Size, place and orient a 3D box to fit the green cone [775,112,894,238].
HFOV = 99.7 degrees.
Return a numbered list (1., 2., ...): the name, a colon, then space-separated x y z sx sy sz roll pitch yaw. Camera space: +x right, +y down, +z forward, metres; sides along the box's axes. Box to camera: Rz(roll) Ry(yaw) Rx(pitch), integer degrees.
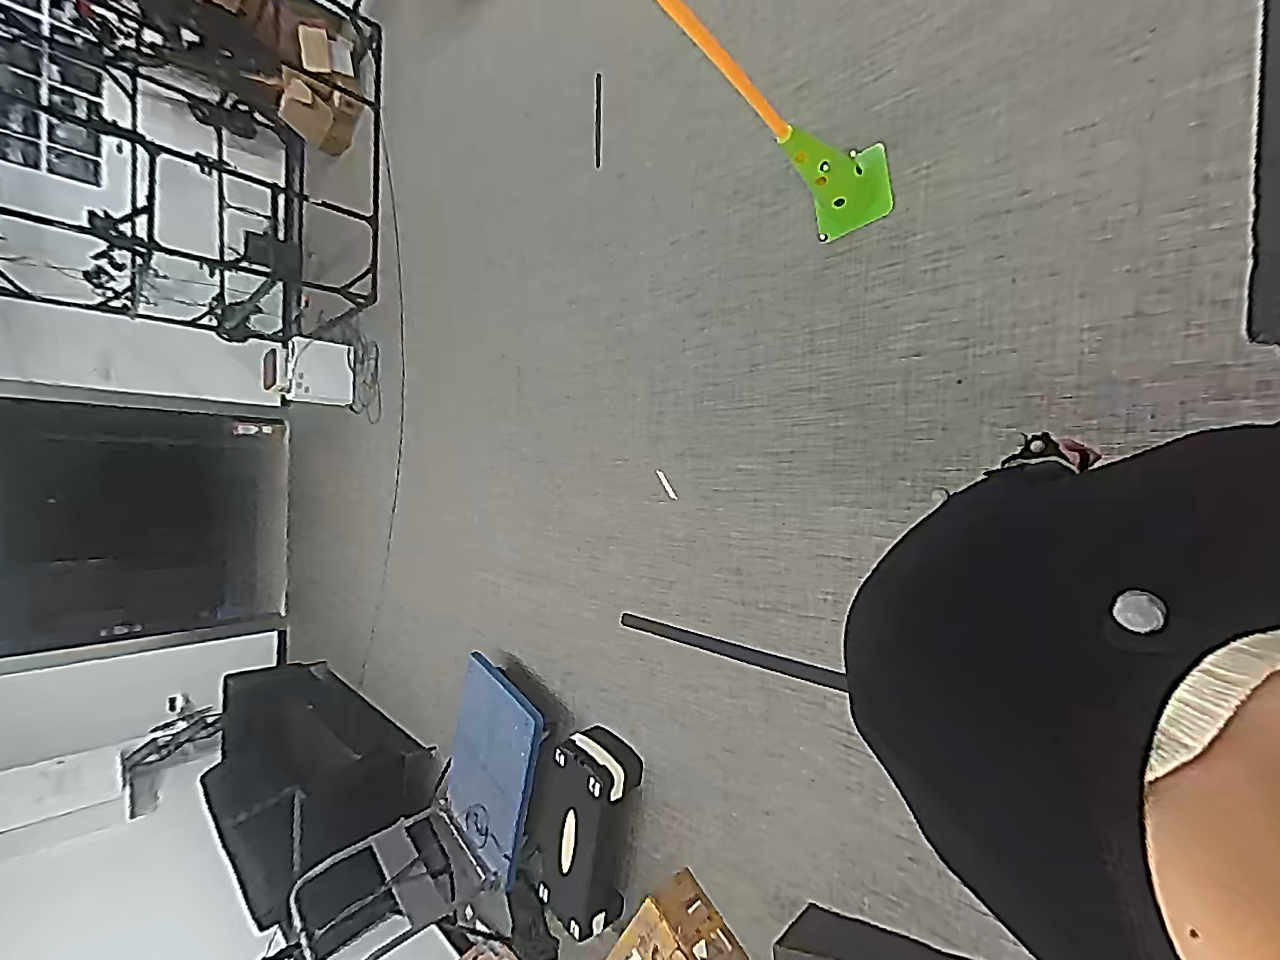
1. green cone: 0.447 -0.782 1.322 0.200 0.368 0.202 -13 78 44
